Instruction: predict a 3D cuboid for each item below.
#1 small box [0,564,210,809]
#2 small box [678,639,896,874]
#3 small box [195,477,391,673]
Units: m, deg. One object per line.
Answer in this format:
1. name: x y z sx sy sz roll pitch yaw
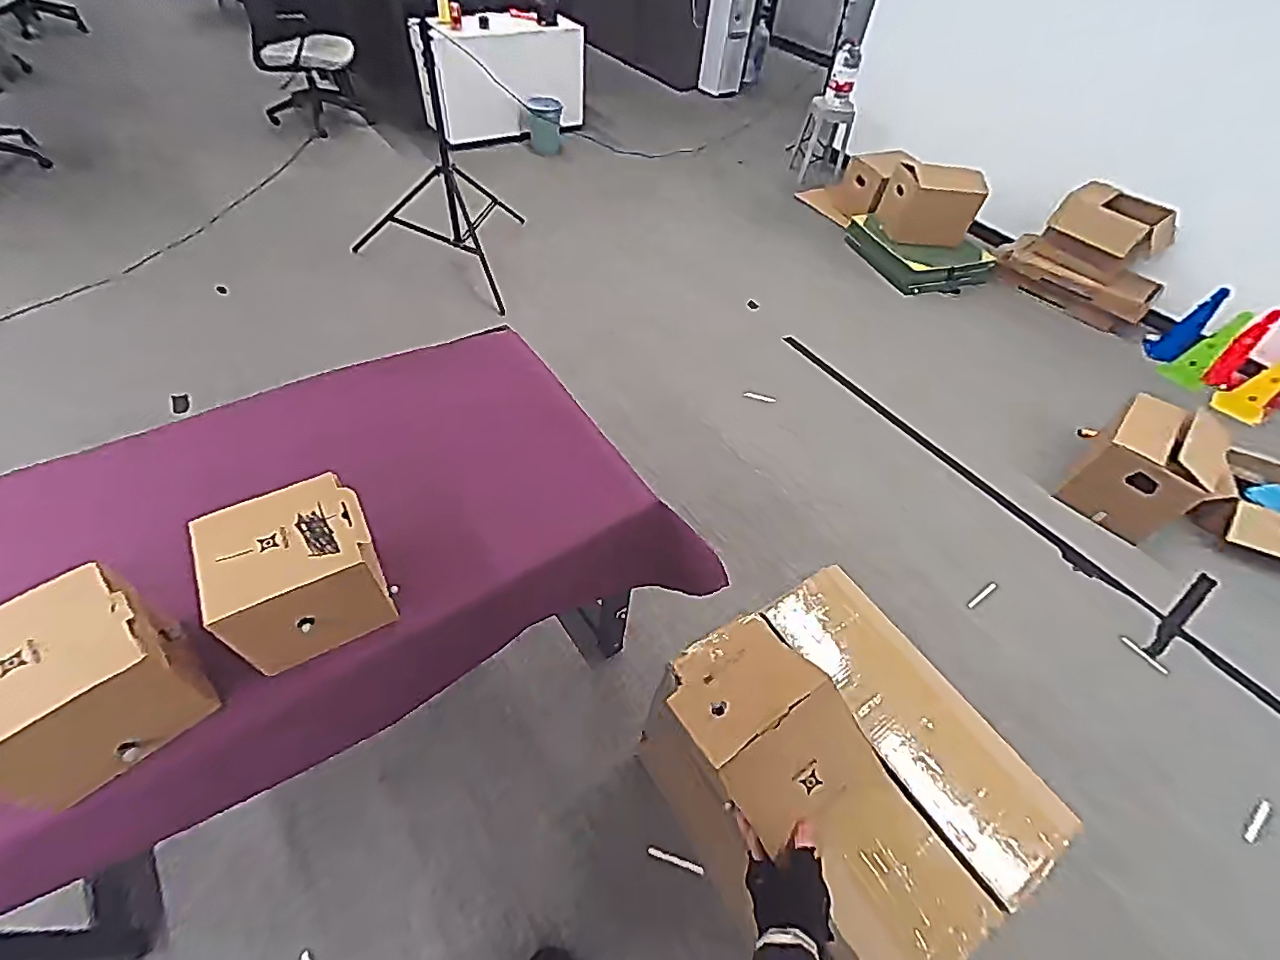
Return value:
1. small box: -0.649 0.240 0.631 0.168 0.176 0.179 38 55 24
2. small box: 0.172 0.324 0.683 0.168 0.176 0.179 -34 101 -10
3. small box: -0.462 0.131 0.744 0.179 0.176 0.168 -23 56 -23
